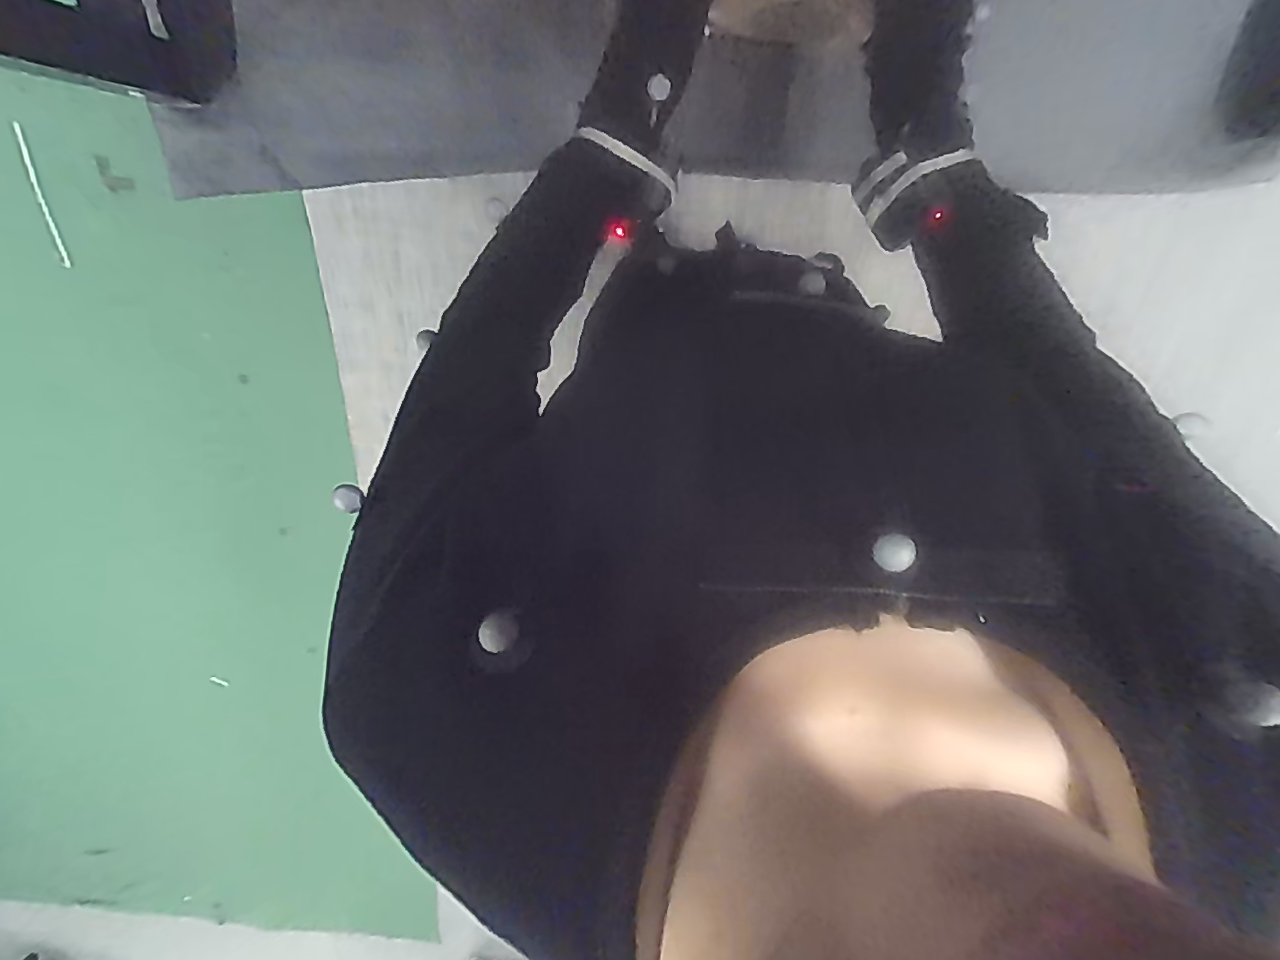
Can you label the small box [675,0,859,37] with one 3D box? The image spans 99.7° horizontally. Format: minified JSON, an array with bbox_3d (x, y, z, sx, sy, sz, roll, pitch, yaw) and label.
[{"bbox_3d":[0.115,-0.481,0.421,0.168,0.176,0.179,6,115,-3],"label":"small box"}]
